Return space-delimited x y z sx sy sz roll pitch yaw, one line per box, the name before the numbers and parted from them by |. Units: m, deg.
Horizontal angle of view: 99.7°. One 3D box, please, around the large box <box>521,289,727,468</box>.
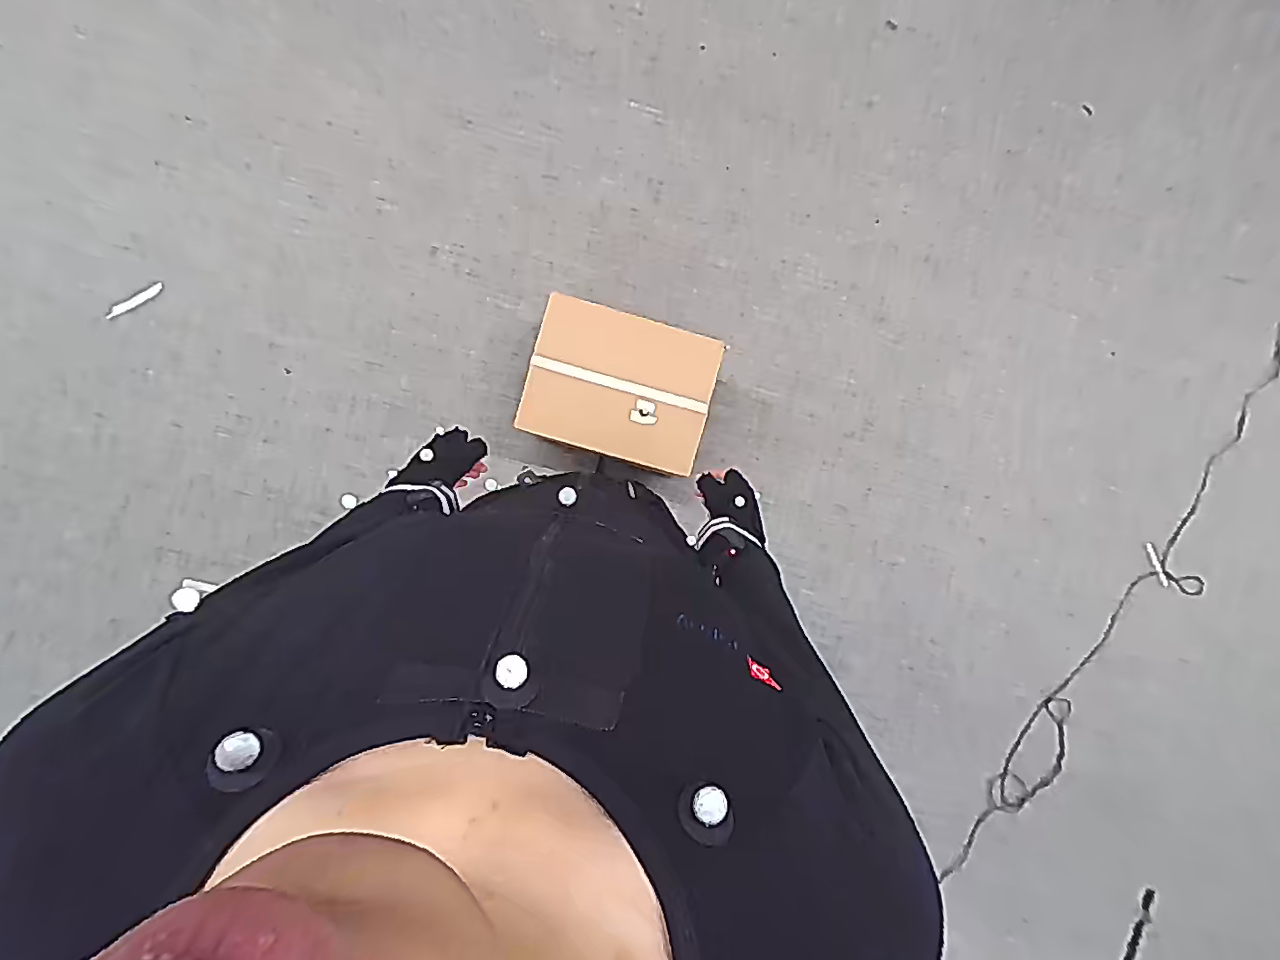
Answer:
large box | -0.044 -0.226 1.340 0.408 0.320 0.320 15 91 -4
